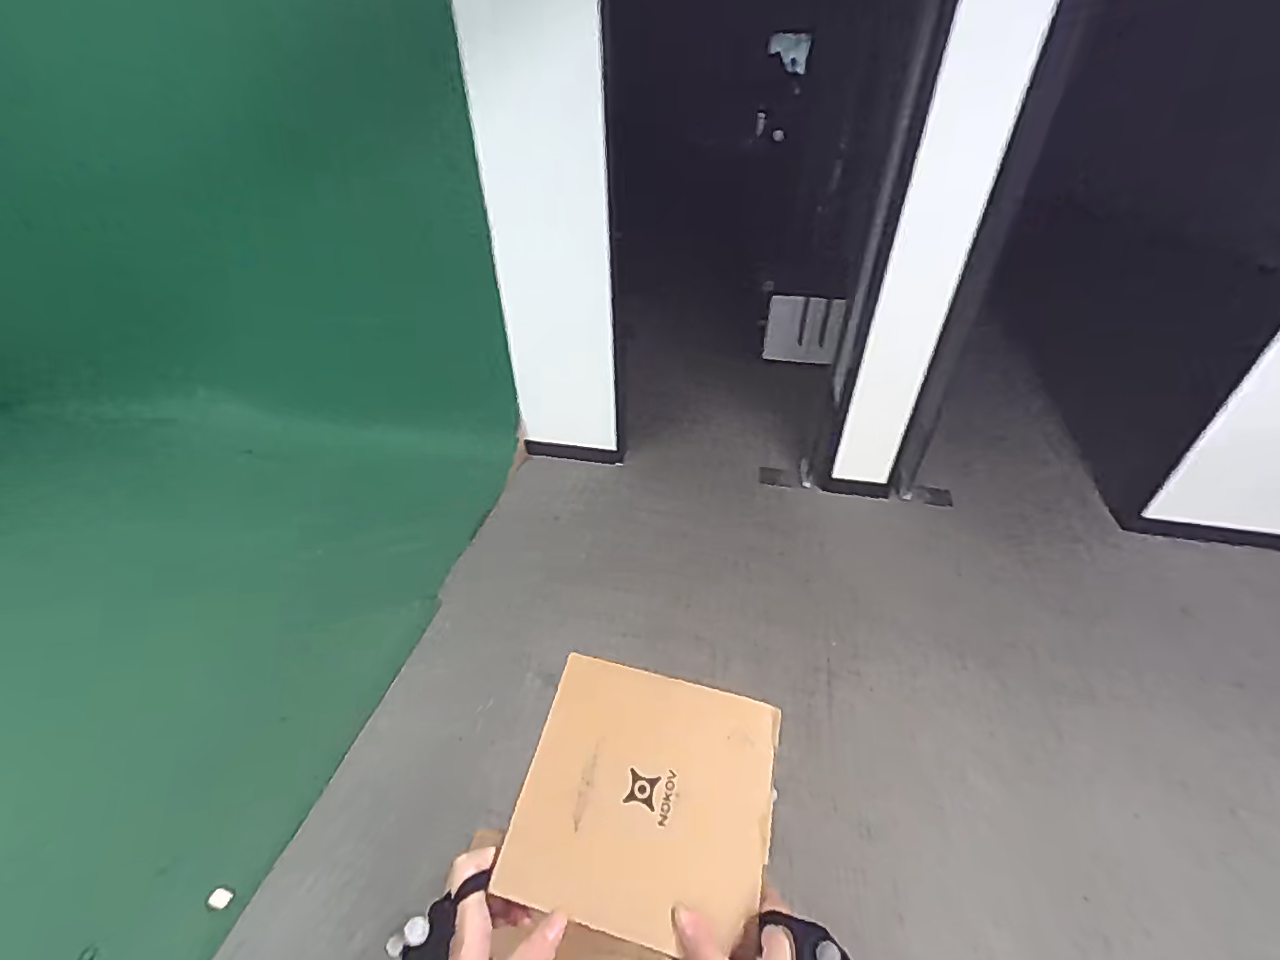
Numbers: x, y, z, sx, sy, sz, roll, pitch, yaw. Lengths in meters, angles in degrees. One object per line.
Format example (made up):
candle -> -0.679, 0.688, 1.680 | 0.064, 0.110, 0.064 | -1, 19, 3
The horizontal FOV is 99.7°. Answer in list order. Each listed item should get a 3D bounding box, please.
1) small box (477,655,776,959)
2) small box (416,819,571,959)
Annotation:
small box -> -0.001, 0.273, 0.445 | 0.179, 0.176, 0.168 | 12, 52, 10
small box -> -0.191, 0.641, 0.791 | 0.168, 0.176, 0.179 | 10, 40, 10
